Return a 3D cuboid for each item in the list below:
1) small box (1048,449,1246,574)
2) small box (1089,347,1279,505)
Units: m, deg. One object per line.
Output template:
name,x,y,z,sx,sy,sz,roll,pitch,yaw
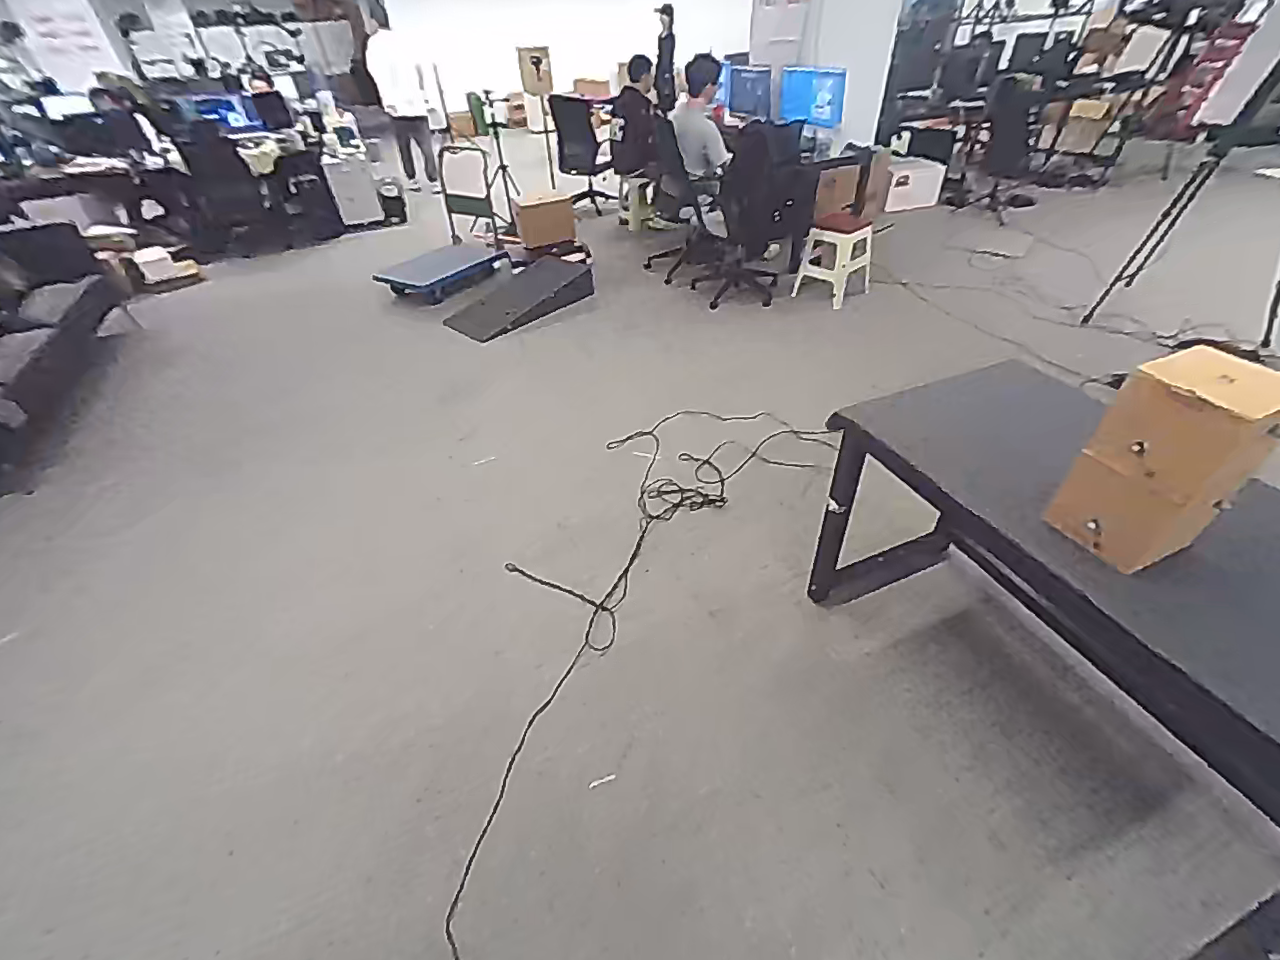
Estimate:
small box,0.889,0.037,0.970,0.179,0.176,0.168,-17,41,-16
small box,0.883,-0.087,0.866,0.179,0.176,0.168,-17,42,-16
